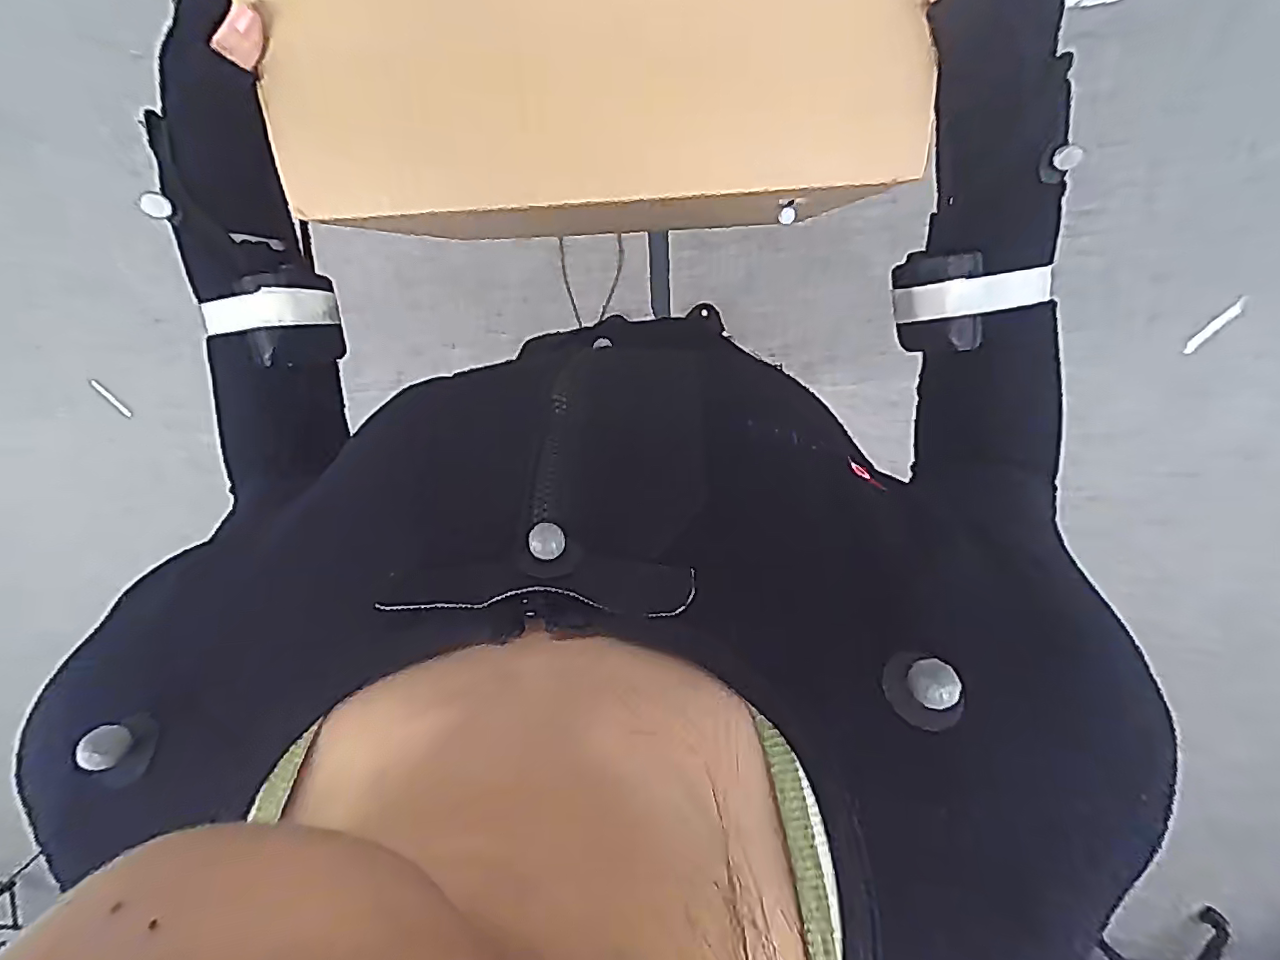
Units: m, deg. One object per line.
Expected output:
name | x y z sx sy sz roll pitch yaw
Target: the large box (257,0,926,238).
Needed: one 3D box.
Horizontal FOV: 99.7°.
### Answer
large box | -0.027 -0.382 0.441 0.408 0.320 0.320 -2 111 4
